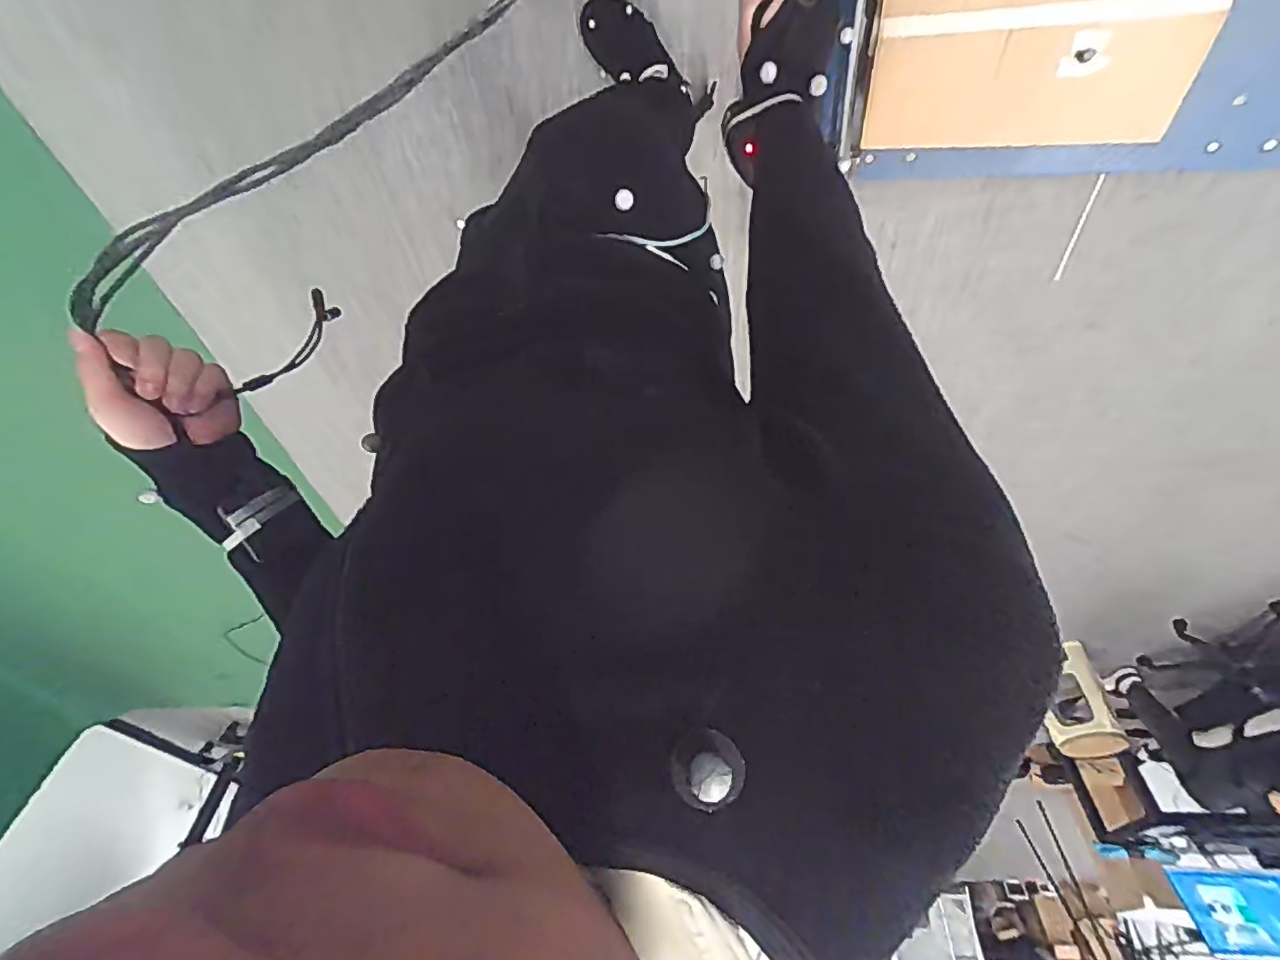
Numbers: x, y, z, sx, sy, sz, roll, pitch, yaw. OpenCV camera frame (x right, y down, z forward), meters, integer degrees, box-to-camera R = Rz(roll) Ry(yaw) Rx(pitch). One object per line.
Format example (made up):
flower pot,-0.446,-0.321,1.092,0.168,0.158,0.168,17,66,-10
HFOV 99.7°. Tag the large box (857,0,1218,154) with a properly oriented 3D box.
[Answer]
large box,0.563,-0.719,0.818,0.408,0.320,0.320,8,138,14
